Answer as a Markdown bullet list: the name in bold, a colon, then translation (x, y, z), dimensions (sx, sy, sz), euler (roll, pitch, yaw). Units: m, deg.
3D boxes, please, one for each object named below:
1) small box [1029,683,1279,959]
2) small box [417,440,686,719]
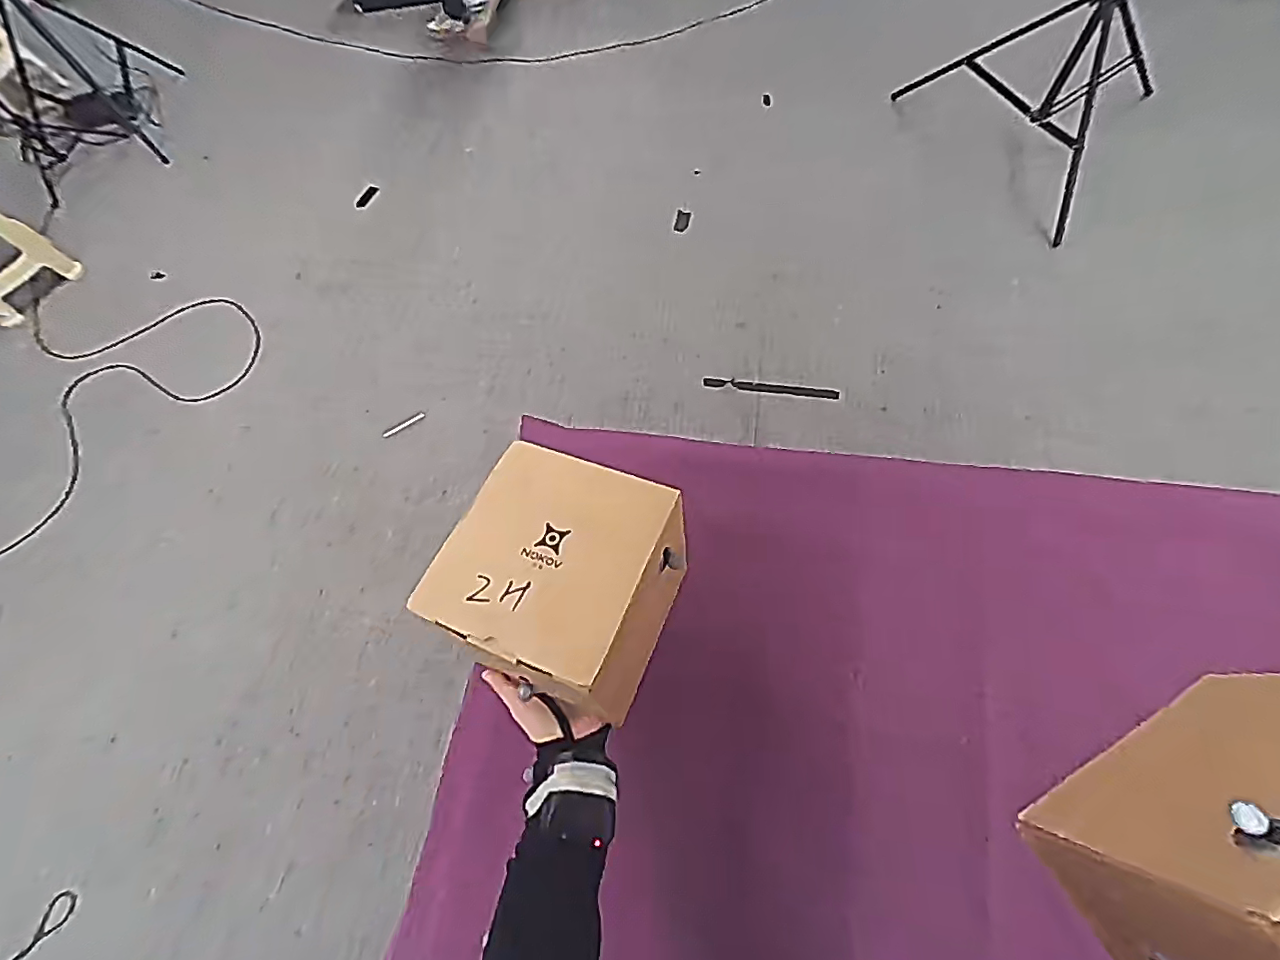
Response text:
- **small box**: translation (0.347, 0.211, 0.255), dimensions (0.179, 0.176, 0.168), euler (-30, 70, -6)
- **small box**: translation (-0.063, 0.097, 0.508), dimensions (0.168, 0.176, 0.179), euler (18, 61, 17)
